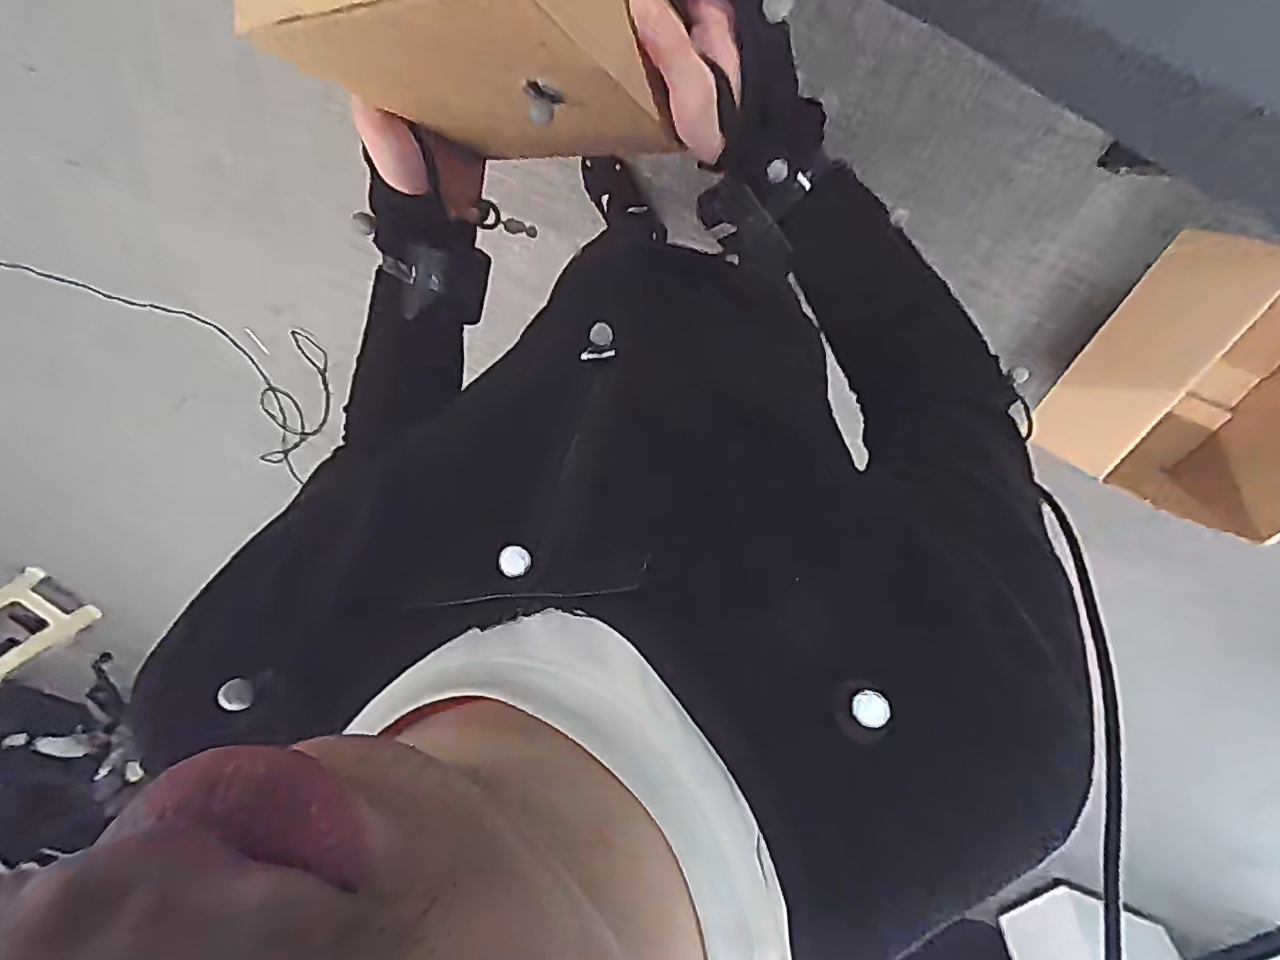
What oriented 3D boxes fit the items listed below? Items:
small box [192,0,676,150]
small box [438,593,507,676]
[{"bbox_3d":[-0.083,-0.285,0.266,0.179,0.176,0.168,14,104,26],"label":"small box"},{"bbox_3d":[-0.550,0.508,1.785,0.168,0.176,0.179,16,122,1],"label":"small box"}]
